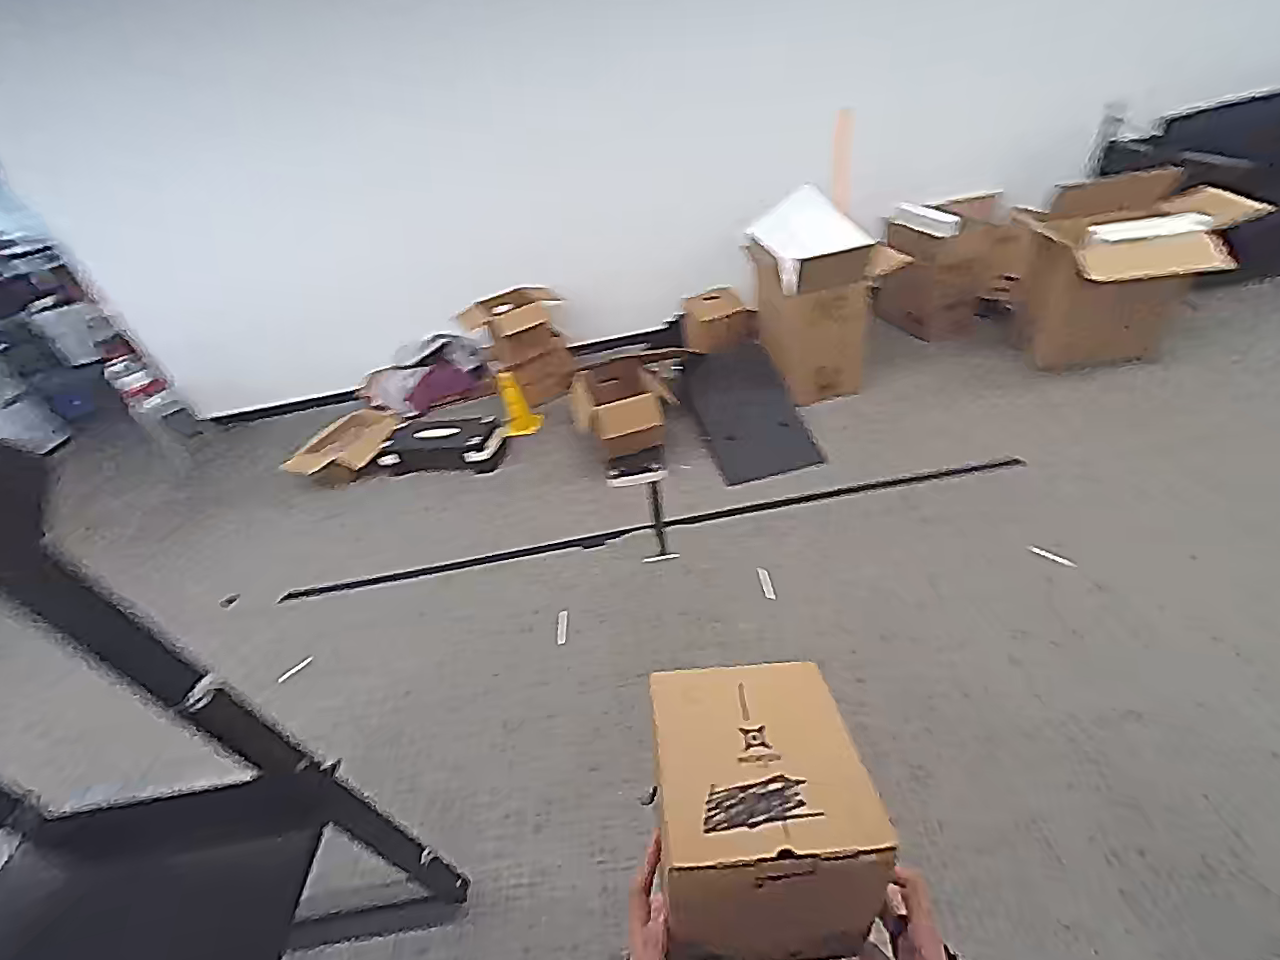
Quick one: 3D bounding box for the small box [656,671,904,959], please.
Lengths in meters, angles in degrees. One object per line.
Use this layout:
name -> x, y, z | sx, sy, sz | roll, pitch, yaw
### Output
small box -> 0.103, 0.301, 0.484 | 0.168, 0.176, 0.179 | -2, 28, -2
